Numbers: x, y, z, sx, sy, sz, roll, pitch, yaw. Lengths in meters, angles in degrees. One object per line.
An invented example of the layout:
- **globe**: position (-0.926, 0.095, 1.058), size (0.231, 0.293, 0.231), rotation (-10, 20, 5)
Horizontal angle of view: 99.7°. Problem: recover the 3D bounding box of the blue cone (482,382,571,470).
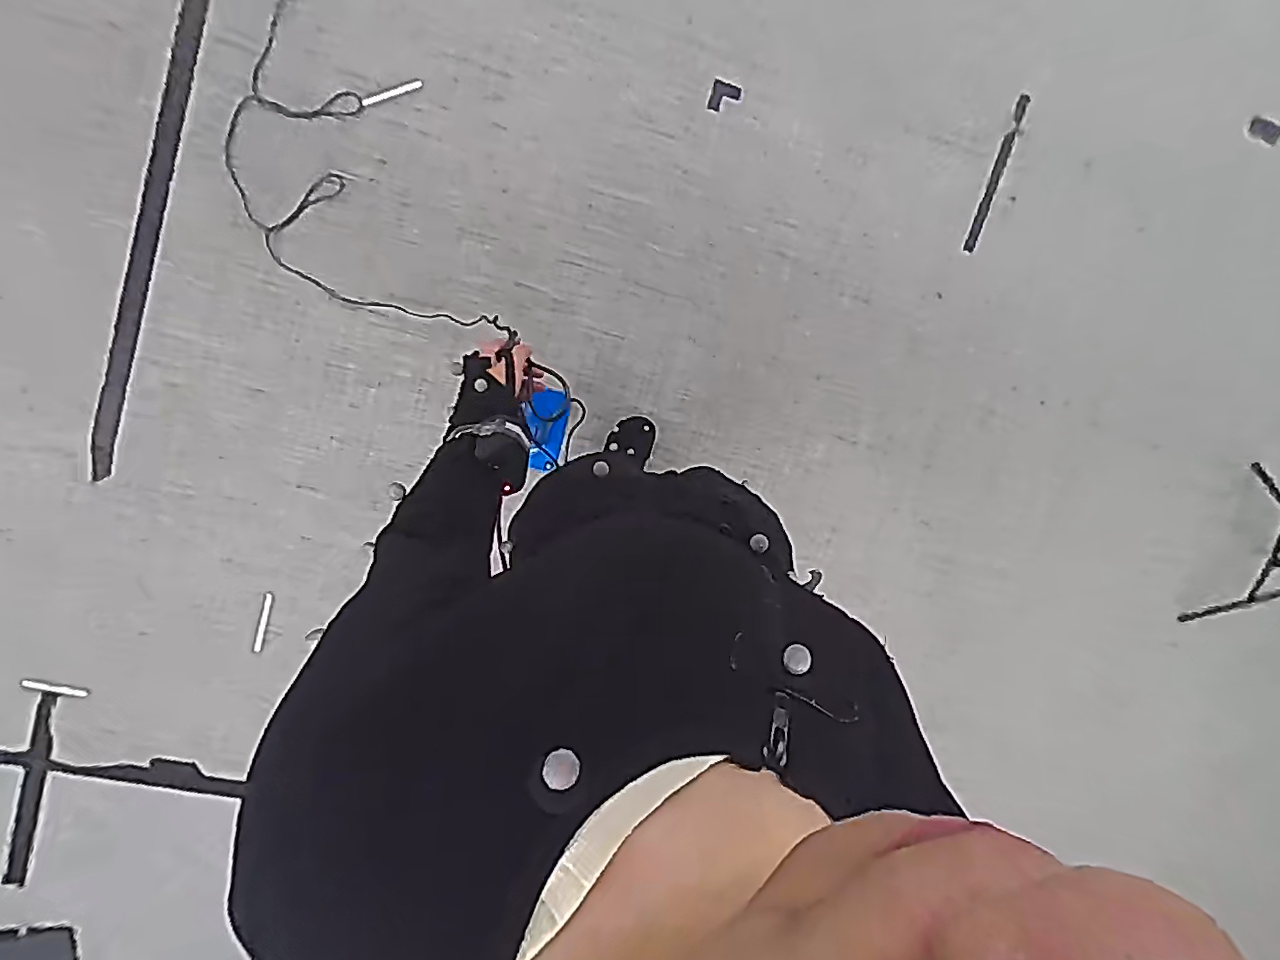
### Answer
- **blue cone**: position (-0.254, -0.109, 1.148), size (0.192, 0.380, 0.193), rotation (16, 95, -9)
